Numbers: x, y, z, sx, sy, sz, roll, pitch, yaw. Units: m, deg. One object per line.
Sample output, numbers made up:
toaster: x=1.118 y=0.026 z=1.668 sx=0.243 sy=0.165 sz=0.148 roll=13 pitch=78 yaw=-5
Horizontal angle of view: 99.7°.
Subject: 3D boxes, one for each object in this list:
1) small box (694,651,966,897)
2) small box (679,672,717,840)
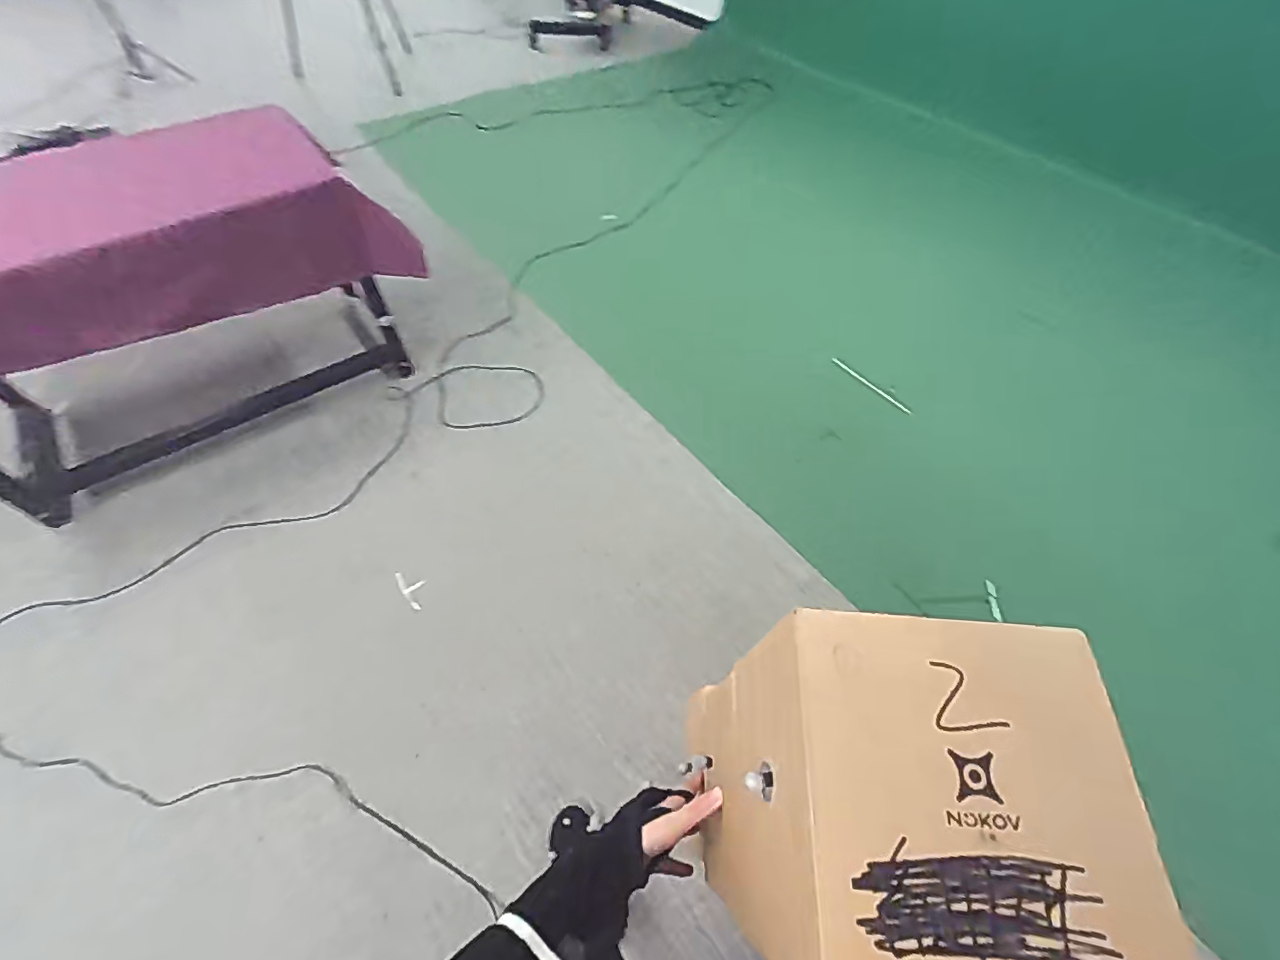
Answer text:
small box: x=0.148 y=0.260 z=0.493 sx=0.179 sy=0.176 sz=0.168 roll=2 pitch=60 yaw=-1
small box: x=0.143 y=0.328 z=0.641 sx=0.179 sy=0.176 sz=0.168 roll=1 pitch=60 yaw=-2
